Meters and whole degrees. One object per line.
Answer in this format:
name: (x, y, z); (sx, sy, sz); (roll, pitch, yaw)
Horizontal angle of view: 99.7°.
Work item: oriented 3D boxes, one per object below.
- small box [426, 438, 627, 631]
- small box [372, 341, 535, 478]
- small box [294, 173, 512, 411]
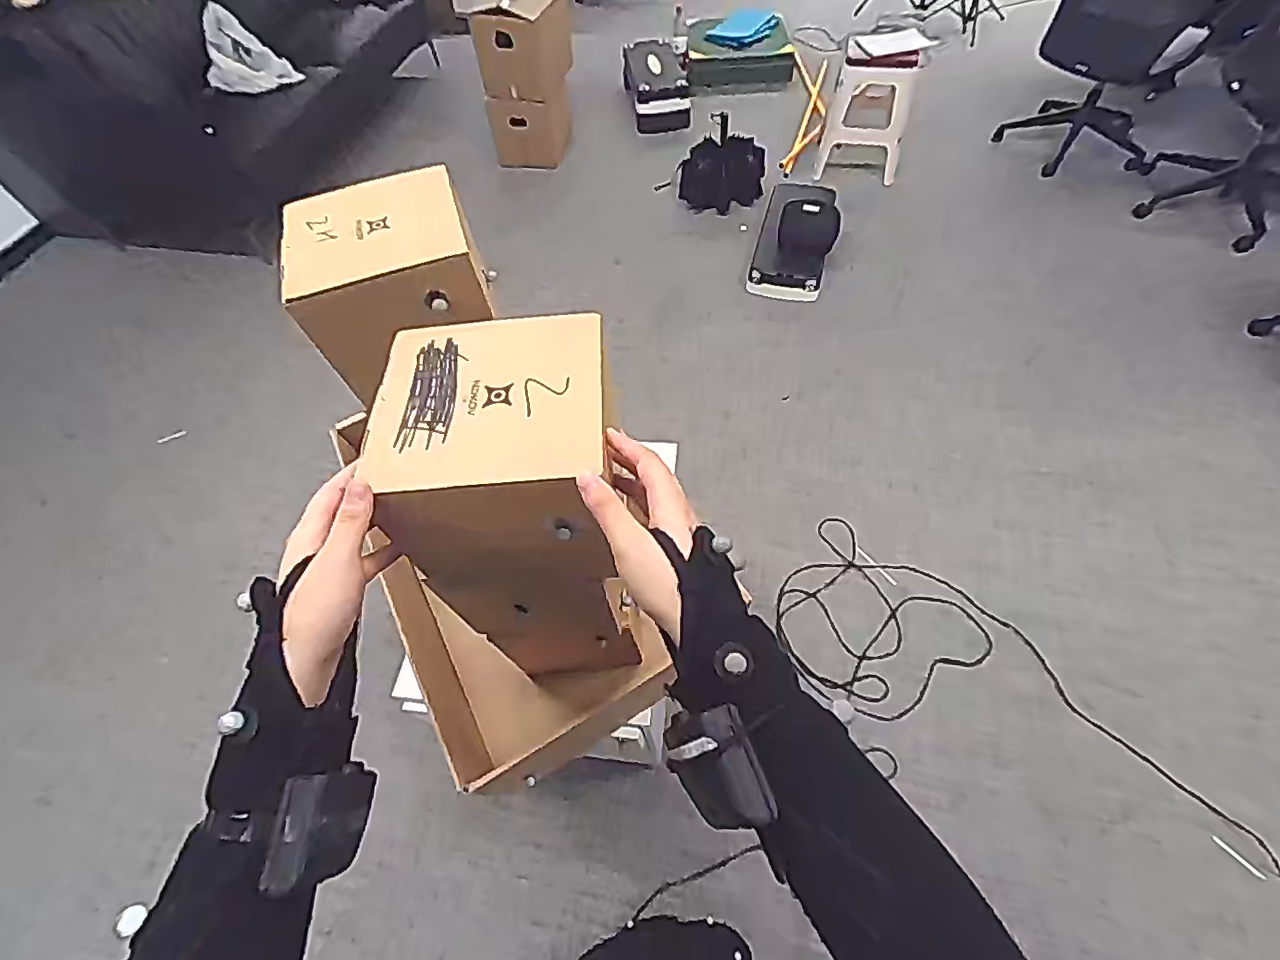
small box: (-0.111, 0.067, 0.625); (0.179, 0.176, 0.168); (-1, 56, 6)
small box: (-0.258, -0.131, 0.766); (0.168, 0.176, 0.179); (-16, 59, -3)
small box: (-0.258, -0.208, 0.619); (0.179, 0.176, 0.168); (-18, 58, -5)
